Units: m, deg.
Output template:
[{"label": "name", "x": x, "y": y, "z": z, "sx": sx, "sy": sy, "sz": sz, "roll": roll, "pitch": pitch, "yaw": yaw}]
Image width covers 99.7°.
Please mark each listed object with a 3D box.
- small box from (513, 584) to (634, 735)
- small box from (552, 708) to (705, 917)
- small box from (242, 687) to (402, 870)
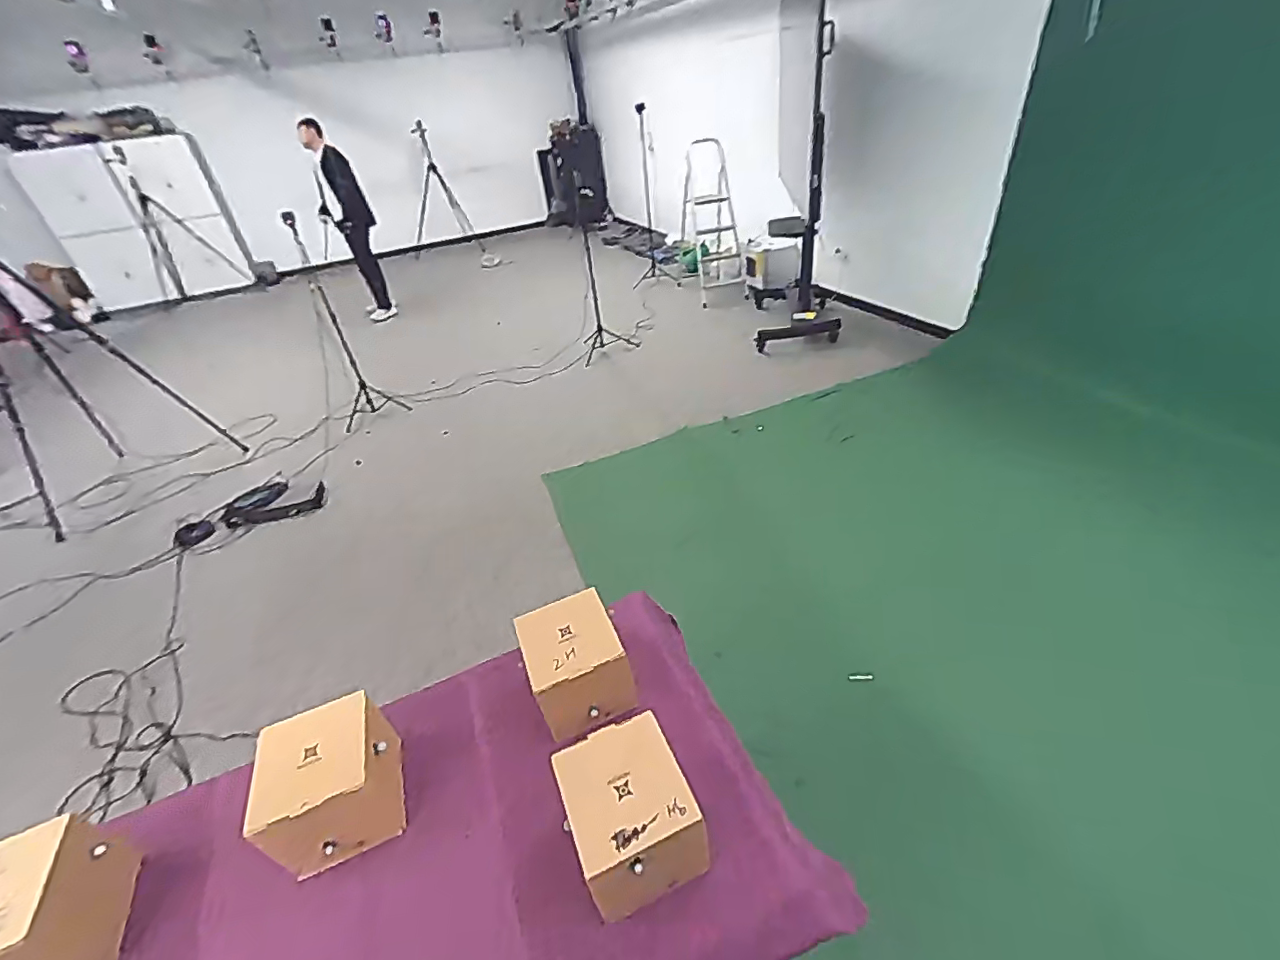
[{"label": "small box", "x": -0.123, "y": 0.335, "z": 1.013, "sx": 0.168, "sy": 0.176, "sz": 0.179, "roll": -20, "pitch": 39, "yaw": -13}, {"label": "small box", "x": -0.016, "y": 0.483, "z": 0.794, "sx": 0.168, "sy": 0.176, "sz": 0.179, "roll": -19, "pitch": 36, "yaw": -14}, {"label": "small box", "x": -0.504, "y": 0.483, "z": 0.882, "sx": 0.168, "sy": 0.176, "sz": 0.179, "roll": -18, "pitch": 39, "yaw": -16}]
